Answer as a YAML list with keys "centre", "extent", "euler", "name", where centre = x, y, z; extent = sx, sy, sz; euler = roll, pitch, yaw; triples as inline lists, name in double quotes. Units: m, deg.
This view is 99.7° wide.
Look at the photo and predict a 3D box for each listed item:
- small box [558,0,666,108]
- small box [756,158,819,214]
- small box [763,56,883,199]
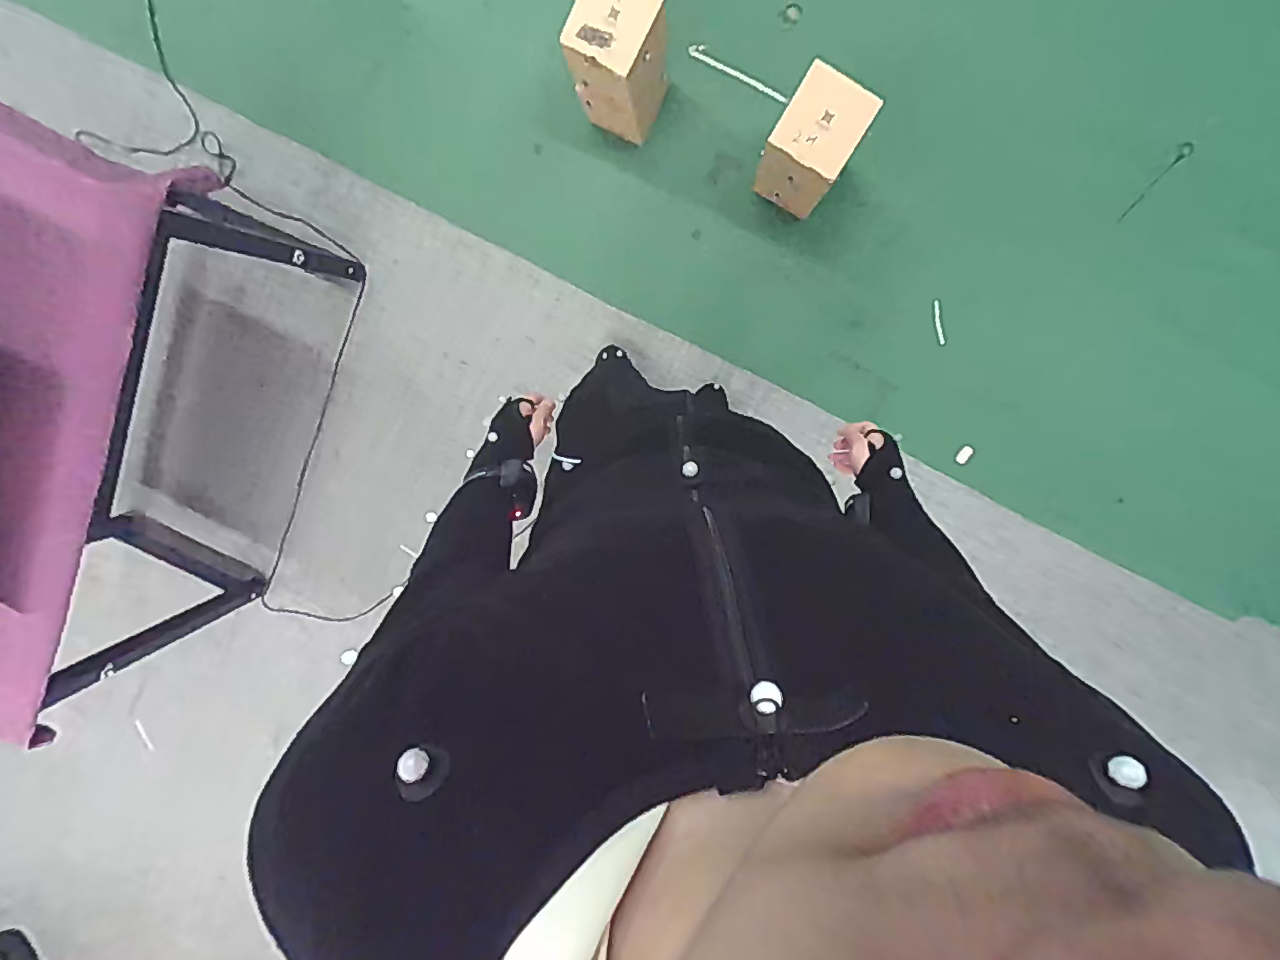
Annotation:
- centre: [-0.052, -0.969, 1.183]
  extent: [0.168, 0.176, 0.179]
  euler: [30, 102, 0]
  name: "small box"
- centre: [0.402, -0.797, 1.340]
  extent: [0.168, 0.176, 0.179]
  euler: [30, 105, -1]
  name: "small box"
- centre: [0.385, -0.755, 1.181]
  extent: [0.168, 0.176, 0.179]
  euler: [32, 104, -1]
  name: "small box"
